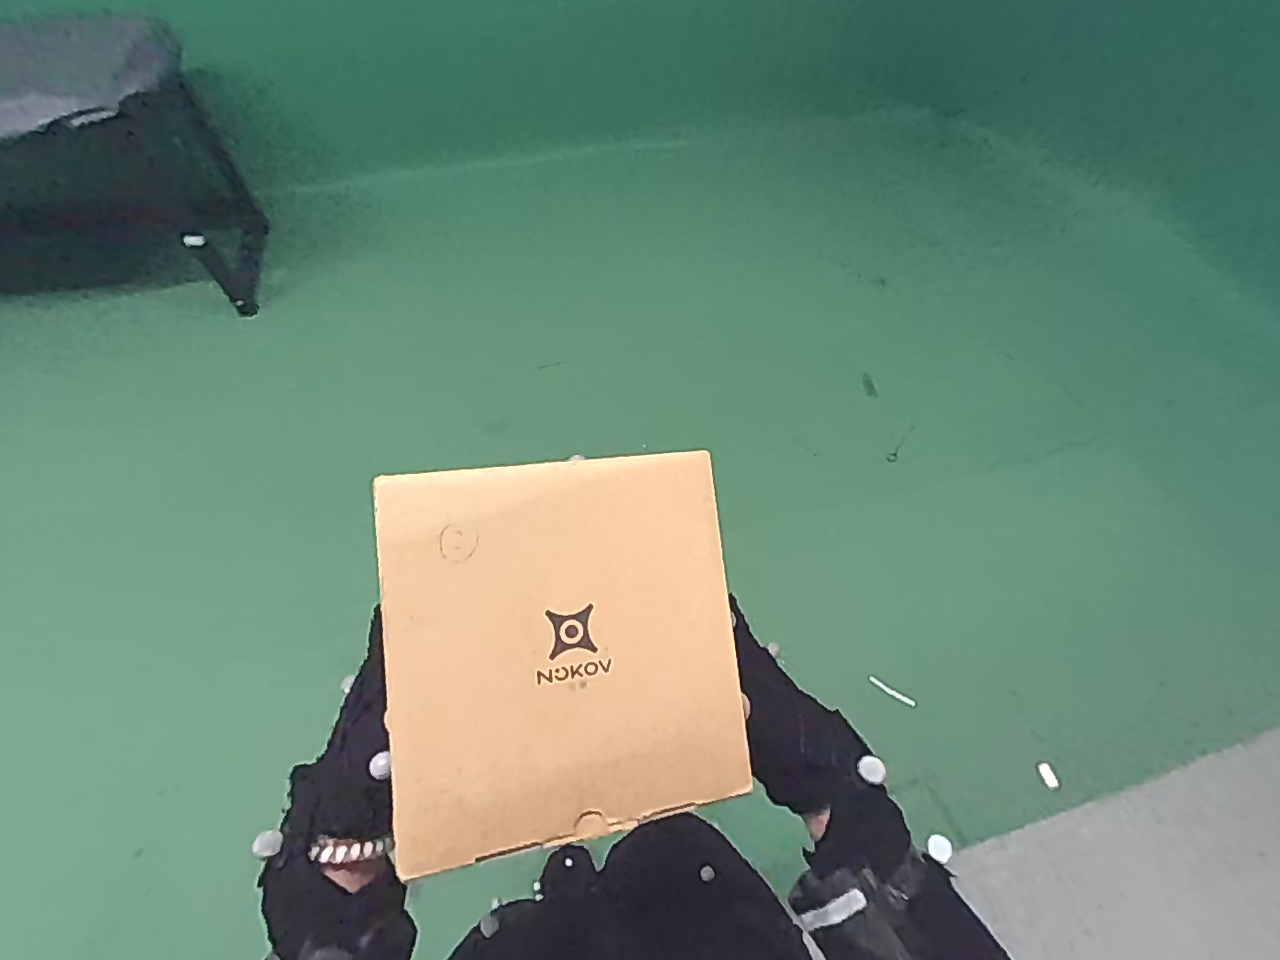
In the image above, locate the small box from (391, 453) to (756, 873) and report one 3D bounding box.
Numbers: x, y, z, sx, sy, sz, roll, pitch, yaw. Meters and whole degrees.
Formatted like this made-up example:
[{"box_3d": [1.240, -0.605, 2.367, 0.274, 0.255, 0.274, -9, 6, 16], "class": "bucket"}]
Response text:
[{"box_3d": [-0.049, 0.087, 0.338, 0.168, 0.176, 0.179, -6, 85, -15], "class": "small box"}]
